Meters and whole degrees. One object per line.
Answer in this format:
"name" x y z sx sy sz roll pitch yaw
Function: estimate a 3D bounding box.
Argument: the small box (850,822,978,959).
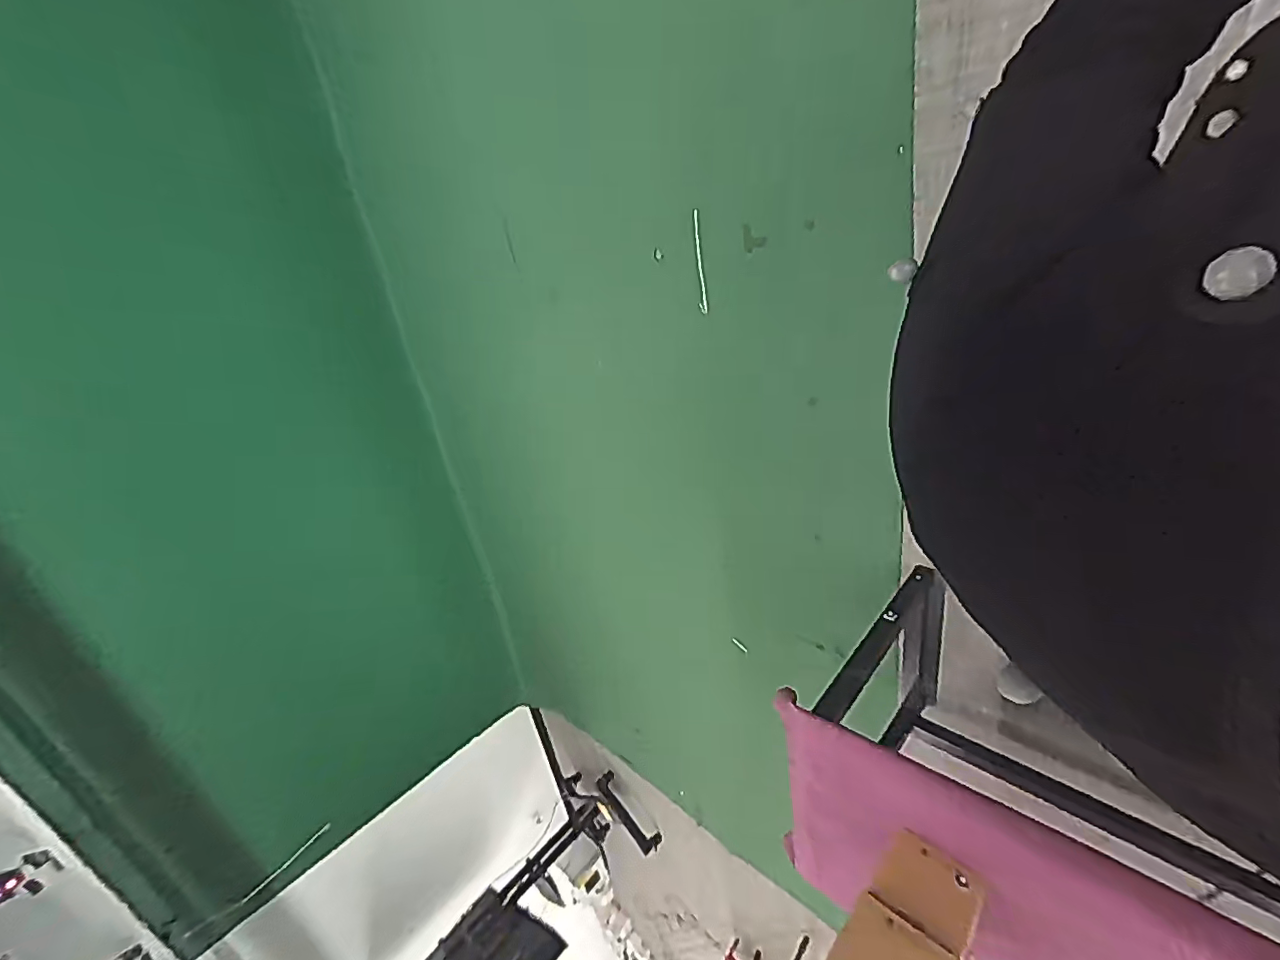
"small box" 0.536 0.825 1.058 0.168 0.176 0.179 22 129 41
